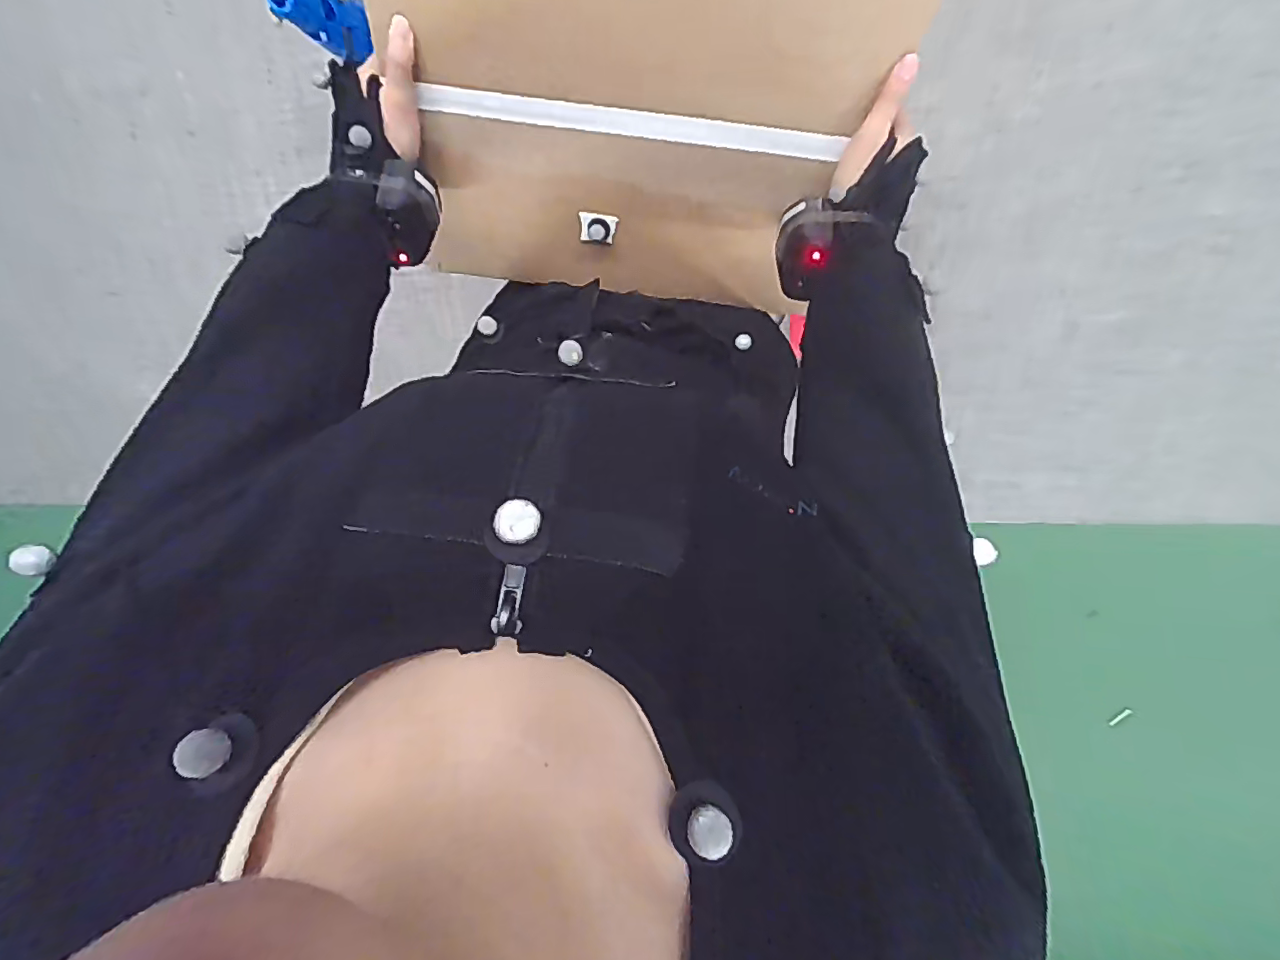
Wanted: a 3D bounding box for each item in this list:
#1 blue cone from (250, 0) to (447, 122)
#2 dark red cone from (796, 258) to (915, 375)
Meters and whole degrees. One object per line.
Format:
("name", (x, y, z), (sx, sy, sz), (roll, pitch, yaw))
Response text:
("blue cone", (-0.500, -0.754, 0.921), (0.192, 0.380, 0.193), (1, 116, 7))
("dark red cone", (0.418, -0.275, 1.003), (0.202, 0.394, 0.201), (-6, 118, 10))
